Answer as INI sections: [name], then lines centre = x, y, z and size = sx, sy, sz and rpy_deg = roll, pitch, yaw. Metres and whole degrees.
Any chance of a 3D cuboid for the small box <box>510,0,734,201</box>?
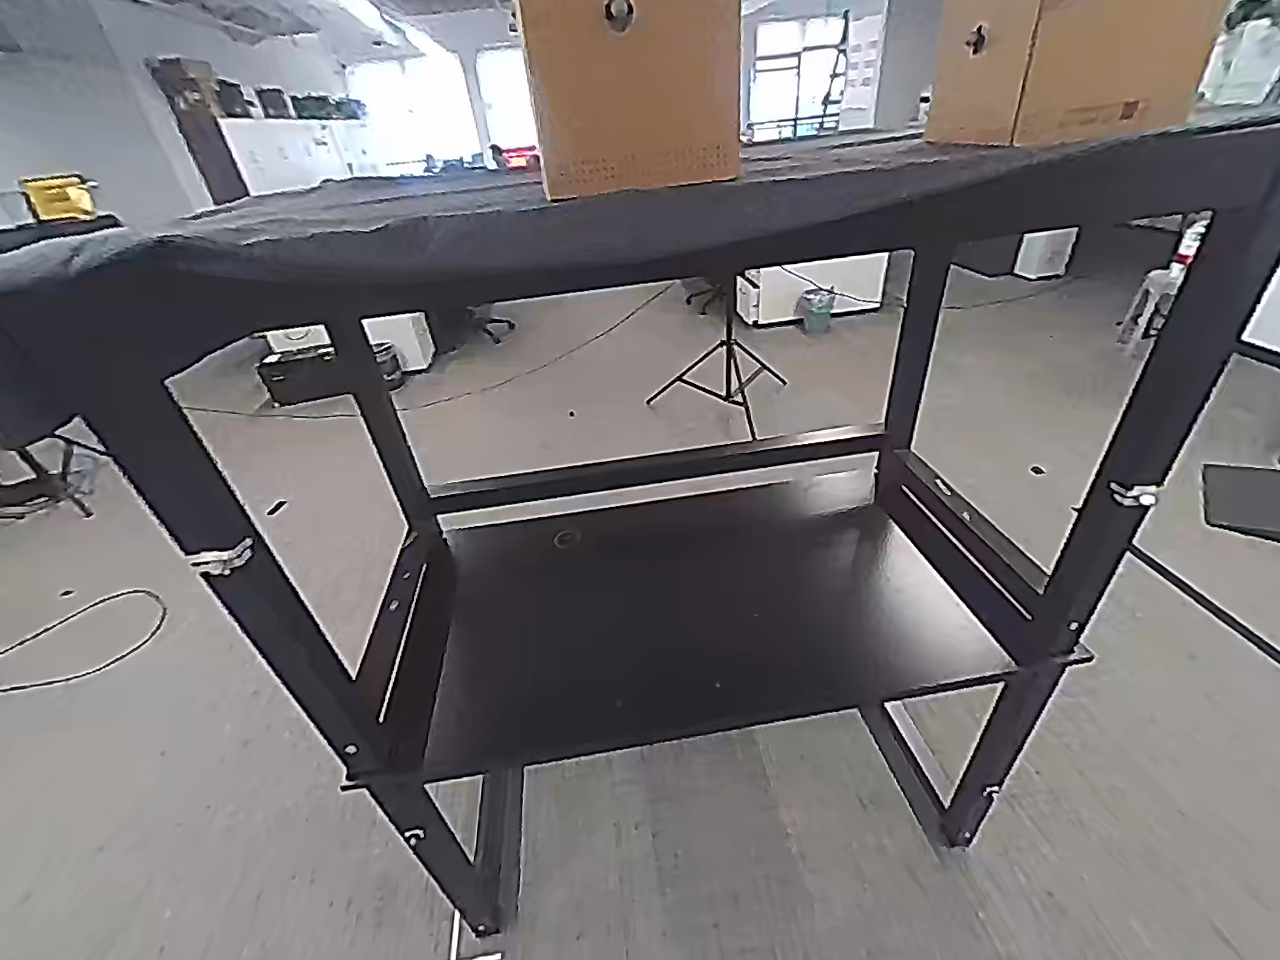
[small box]
centre = -0.017, -0.366, 0.507
size = 0.179, 0.176, 0.168
rpy_deg = -10, 33, -6
